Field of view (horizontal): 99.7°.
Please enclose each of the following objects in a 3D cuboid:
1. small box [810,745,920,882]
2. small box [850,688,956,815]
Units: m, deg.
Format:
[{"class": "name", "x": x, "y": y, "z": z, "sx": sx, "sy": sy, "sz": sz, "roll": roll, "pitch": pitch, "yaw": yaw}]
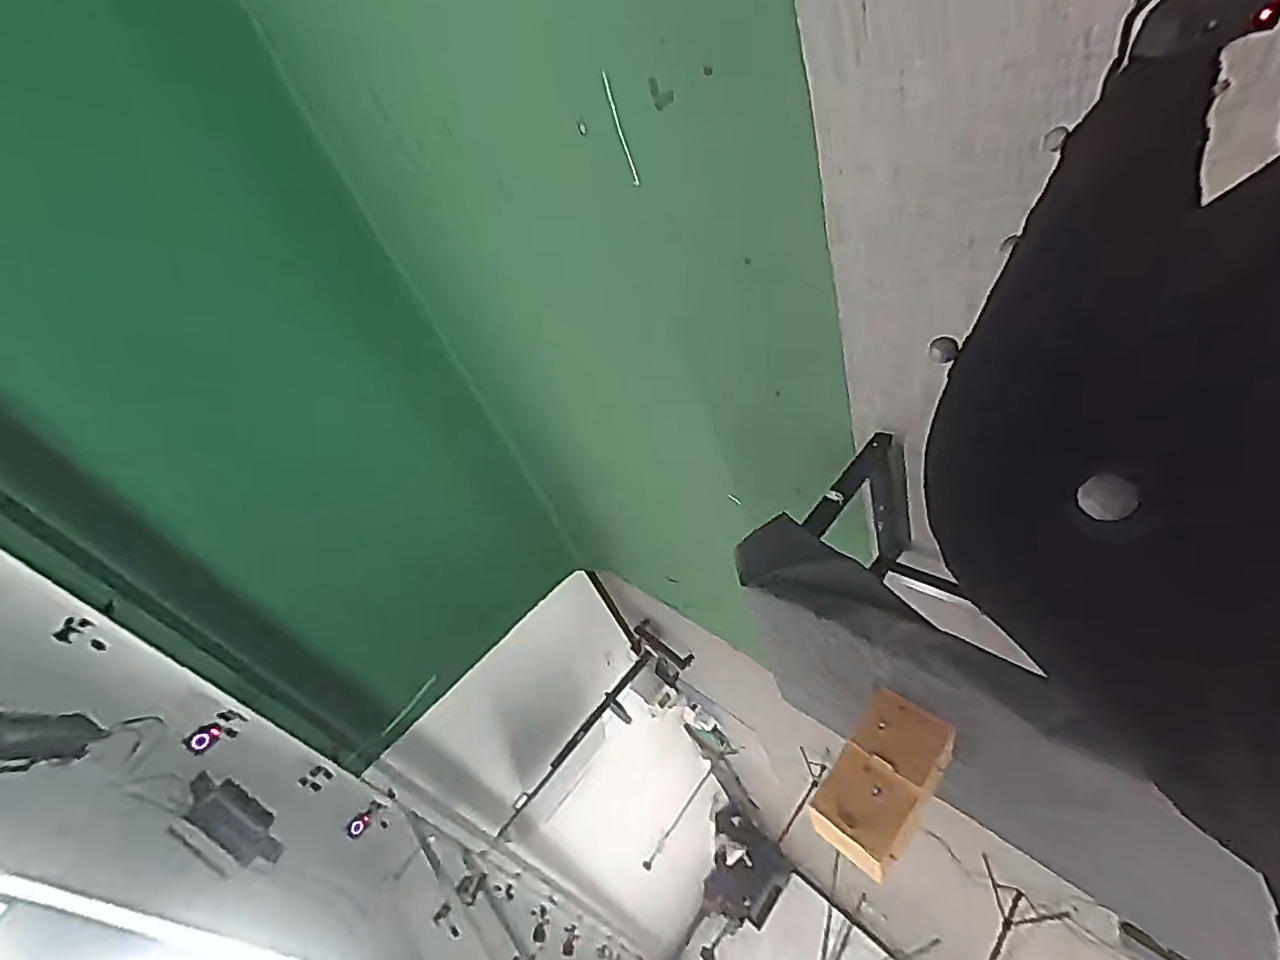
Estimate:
[{"class": "small box", "x": 0.502, "y": 0.732, "z": 1.200, "sx": 0.168, "sy": 0.176, "sz": 0.179, "roll": 25, "pitch": 147, "yaw": 43}, {"class": "small box", "x": 0.609, "y": 0.620, "z": 1.251, "sx": 0.168, "sy": 0.176, "sz": 0.179, "roll": 24, "pitch": 149, "yaw": 43}]
